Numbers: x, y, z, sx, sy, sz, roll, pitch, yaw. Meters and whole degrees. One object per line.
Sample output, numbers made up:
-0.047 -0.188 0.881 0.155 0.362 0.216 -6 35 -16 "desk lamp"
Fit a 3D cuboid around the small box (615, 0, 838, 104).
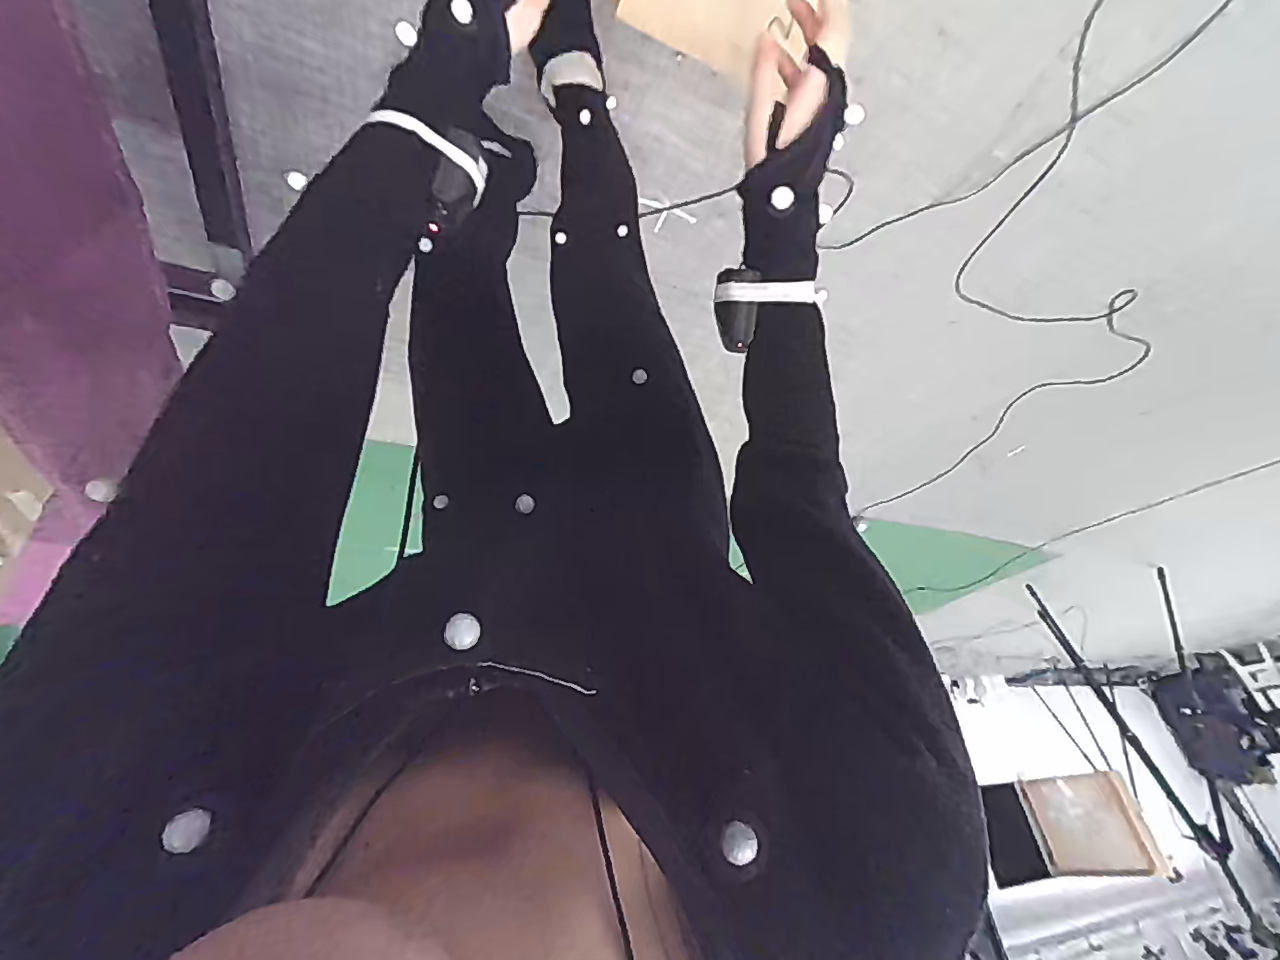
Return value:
0.084 -0.492 0.481 0.179 0.176 0.168 11 145 -23 "small box"
